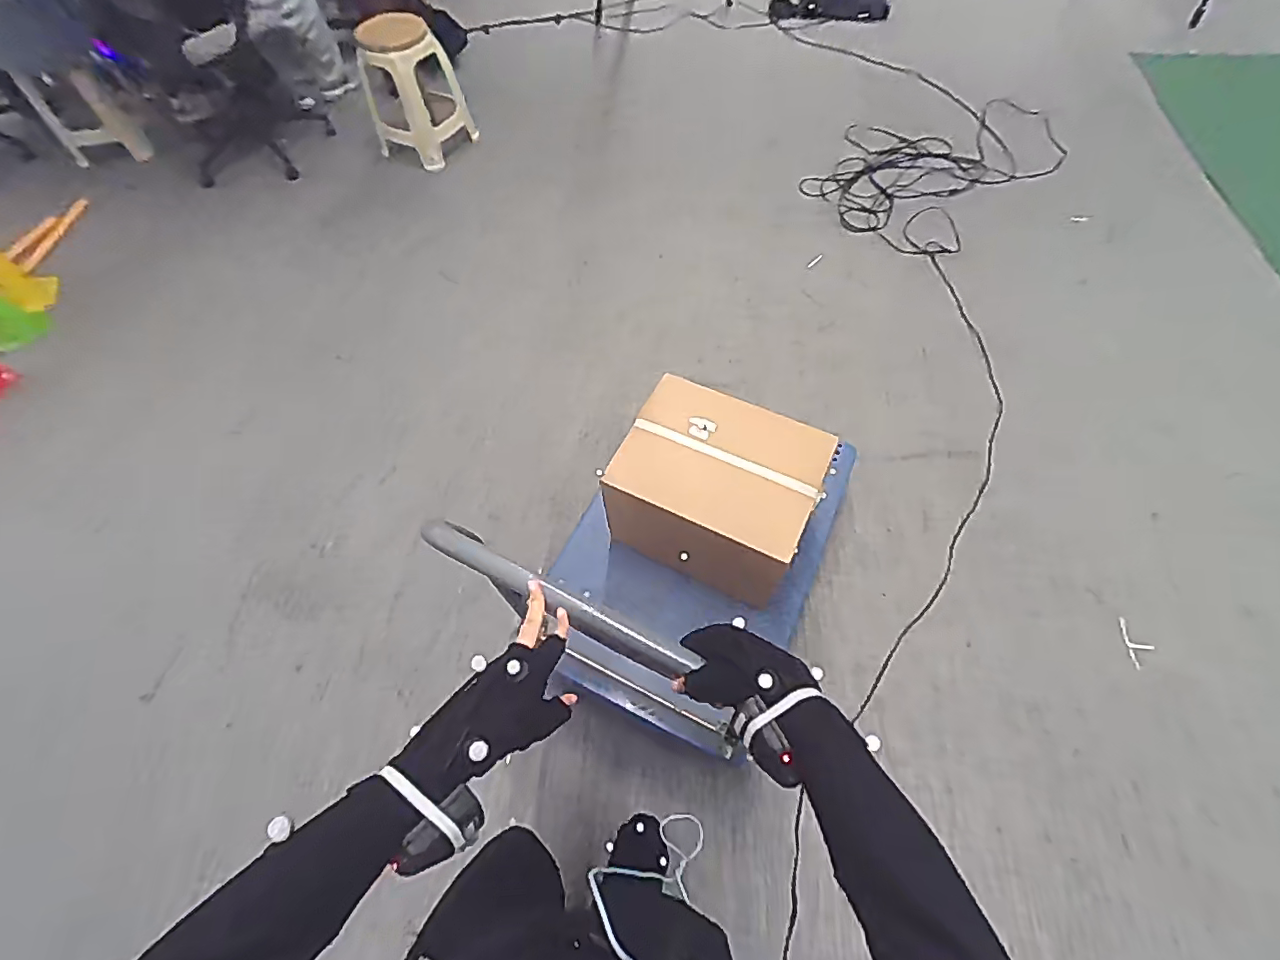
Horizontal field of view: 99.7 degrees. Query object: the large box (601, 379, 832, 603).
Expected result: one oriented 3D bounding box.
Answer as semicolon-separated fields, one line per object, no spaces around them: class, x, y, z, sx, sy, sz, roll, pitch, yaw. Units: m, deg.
large box;0.171;0.032;1.249;0.408;0.320;0.320;23;63;15
